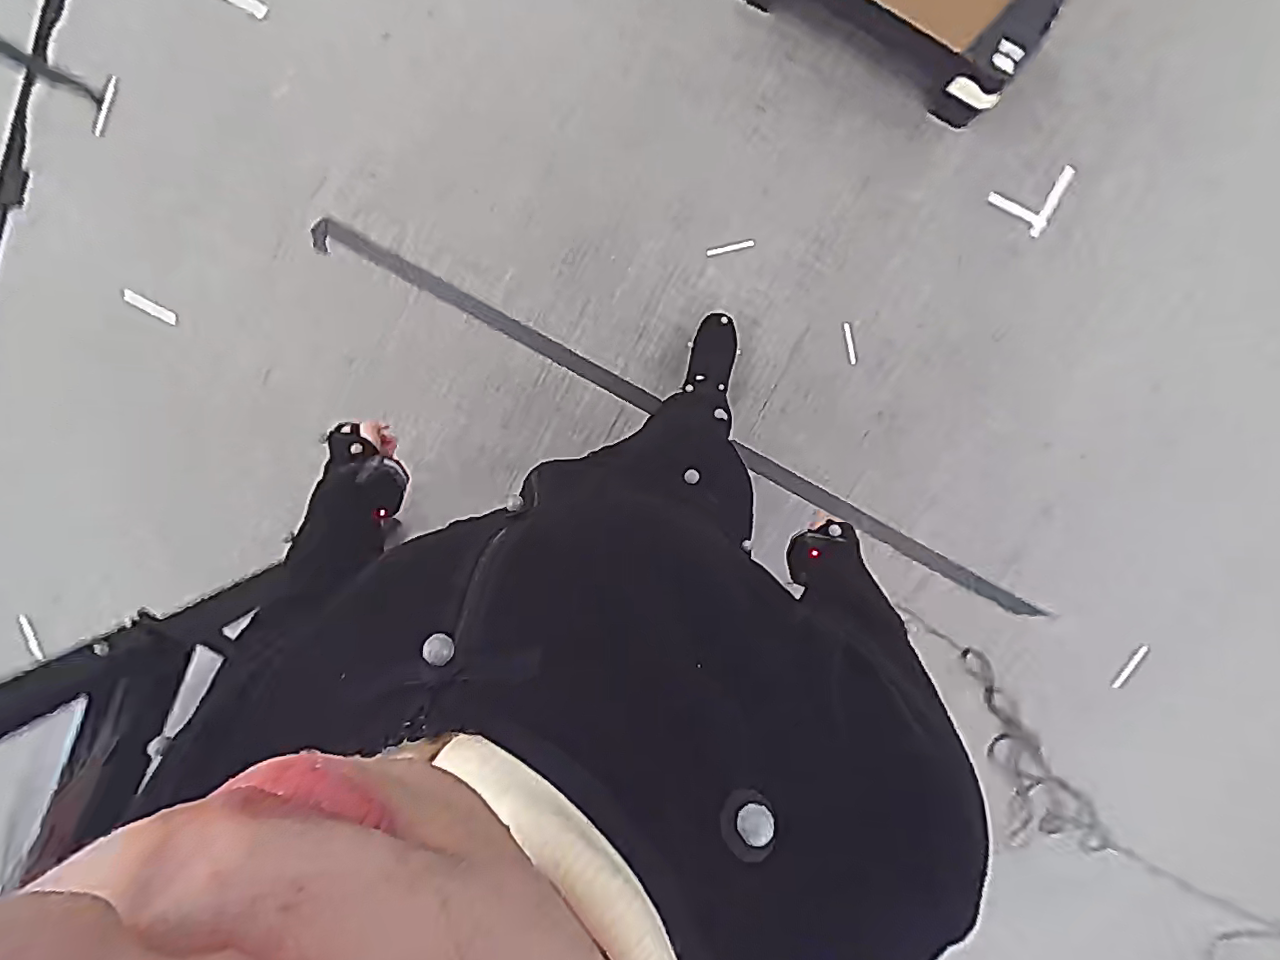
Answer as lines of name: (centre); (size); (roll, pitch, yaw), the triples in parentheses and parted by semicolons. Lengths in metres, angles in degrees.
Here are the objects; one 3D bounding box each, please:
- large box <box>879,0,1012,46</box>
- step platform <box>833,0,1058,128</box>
large box: (0.563, -1.087, 0.941); (0.408, 0.320, 0.320); (28, 99, -1)
step platform: (0.551, -1.119, 1.178); (0.684, 0.204, 0.286); (34, 99, -2)
